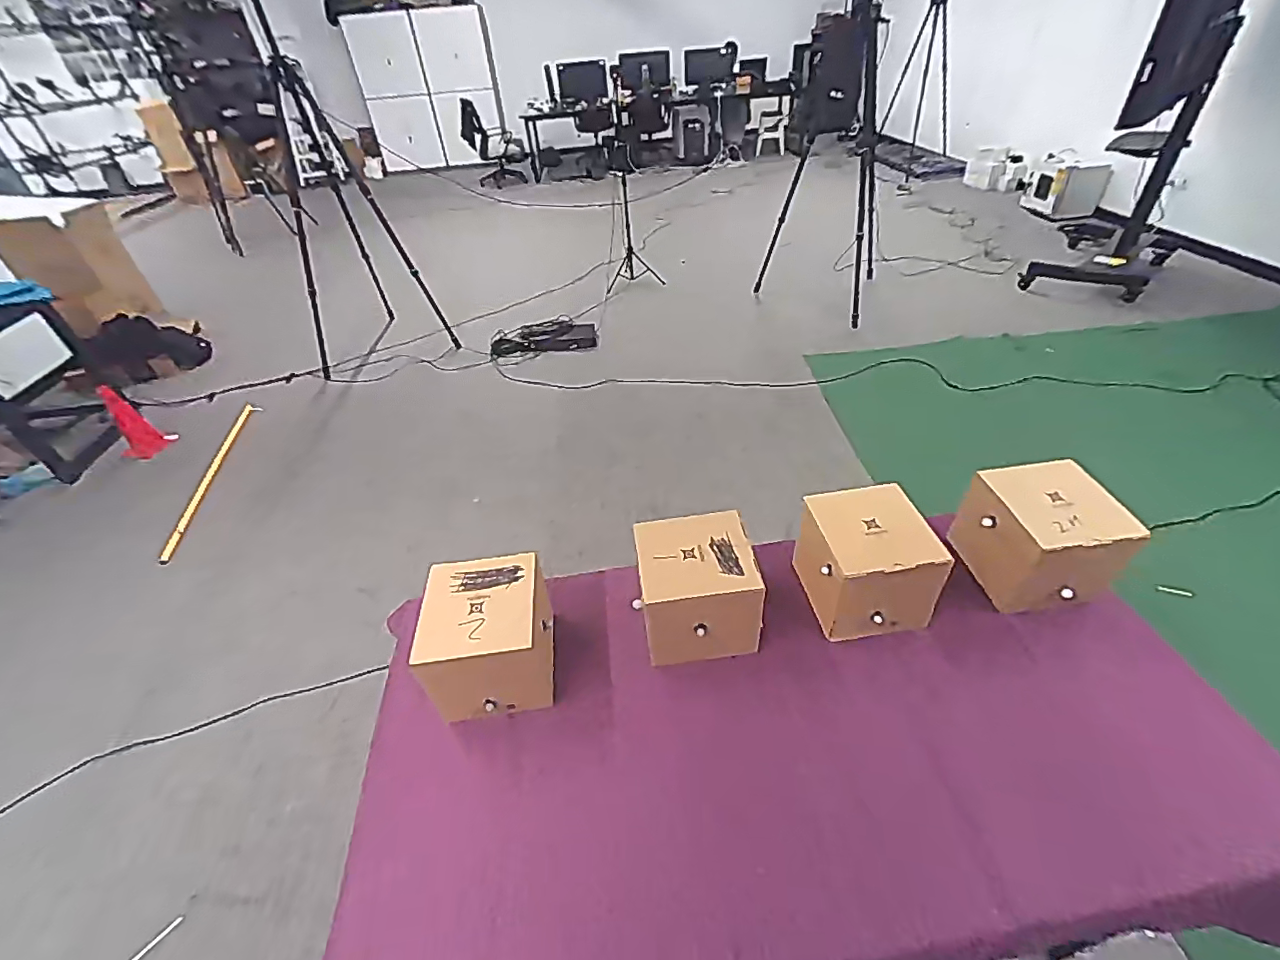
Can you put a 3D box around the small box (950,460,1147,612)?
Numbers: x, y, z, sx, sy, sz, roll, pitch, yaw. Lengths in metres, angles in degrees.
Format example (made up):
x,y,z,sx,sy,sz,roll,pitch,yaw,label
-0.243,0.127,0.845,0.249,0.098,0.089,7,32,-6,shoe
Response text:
x,y,z,sx,sy,sz,roll,pitch,yaw,label
0.653,0.092,0.896,0.168,0.176,0.179,-8,43,0,small box

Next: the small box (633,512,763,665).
x,y,z,sx,sy,sz,roll,pitch,yaw,label
0.088,0.177,0.877,0.179,0.176,0.168,-8,40,-1,small box

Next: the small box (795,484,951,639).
x,y,z,sx,sy,sz,roll,pitch,yaw,label
0.367,0.134,0.894,0.168,0.176,0.179,-9,41,-3,small box
